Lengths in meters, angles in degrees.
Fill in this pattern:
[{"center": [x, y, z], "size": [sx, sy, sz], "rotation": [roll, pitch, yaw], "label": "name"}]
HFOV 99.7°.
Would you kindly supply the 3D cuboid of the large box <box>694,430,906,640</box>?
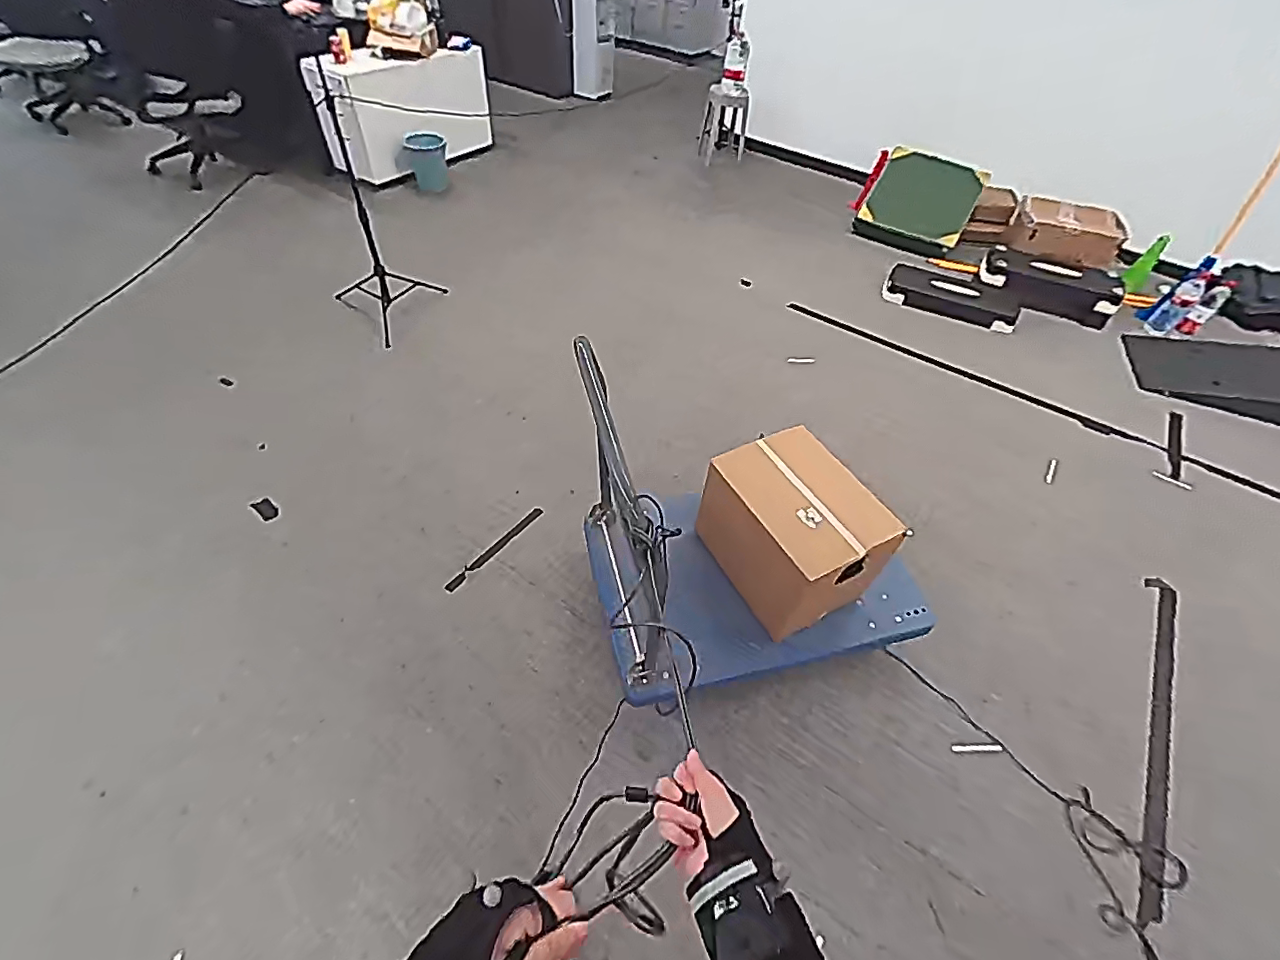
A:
[{"center": [0.393, 0.140, 1.444], "size": [0.320, 0.320, 0.408], "rotation": [-21, 55, -21], "label": "large box"}]
